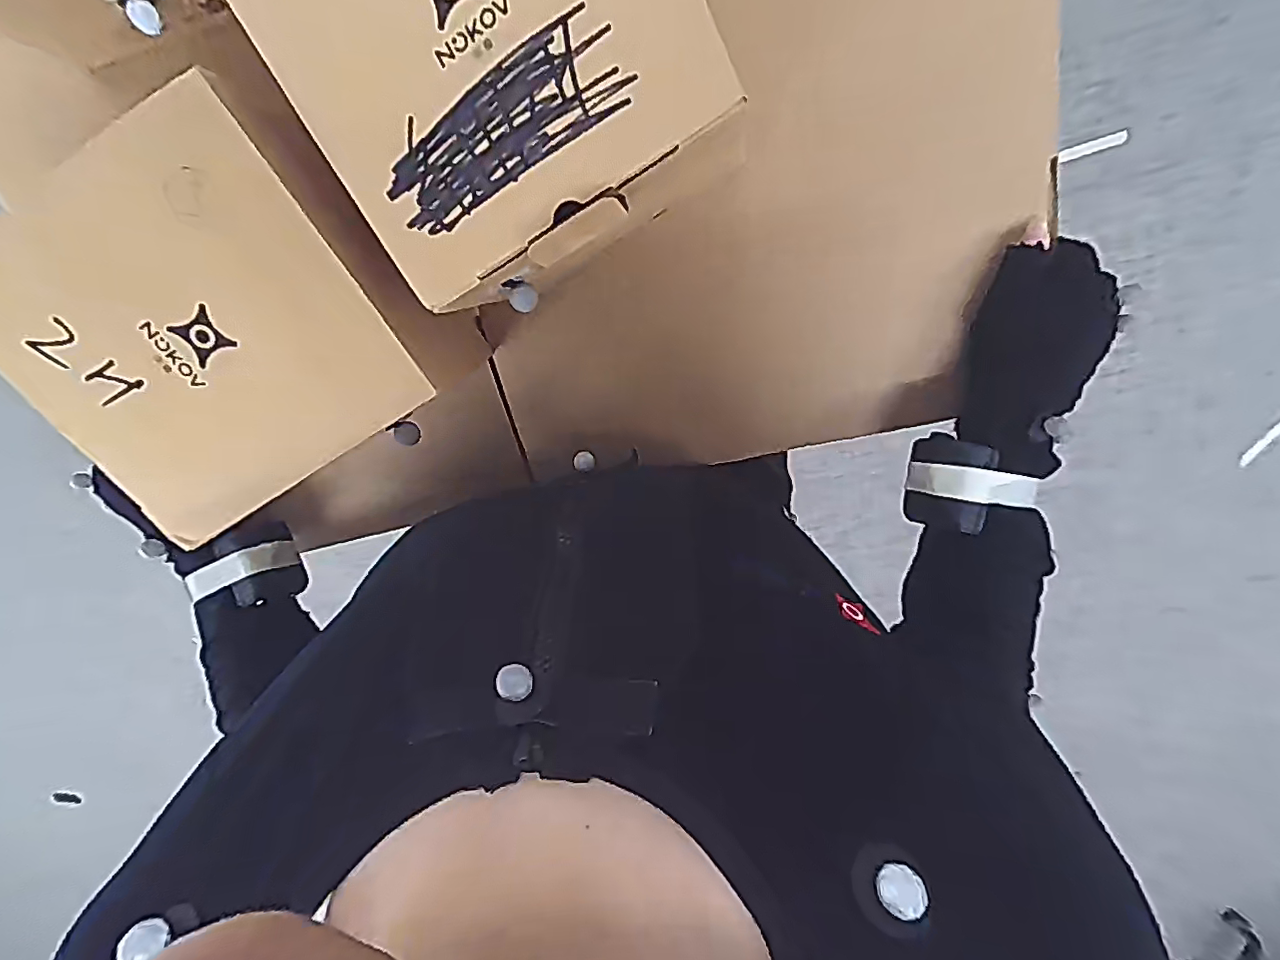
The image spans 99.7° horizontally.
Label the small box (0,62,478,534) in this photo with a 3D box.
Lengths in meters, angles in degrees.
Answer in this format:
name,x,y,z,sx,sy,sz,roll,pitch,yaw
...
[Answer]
name,x,y,z,sx,sy,sz,roll,pitch,yaw
small box,-0.222,-0.103,0.340,0.179,0.176,0.168,-29,110,7
